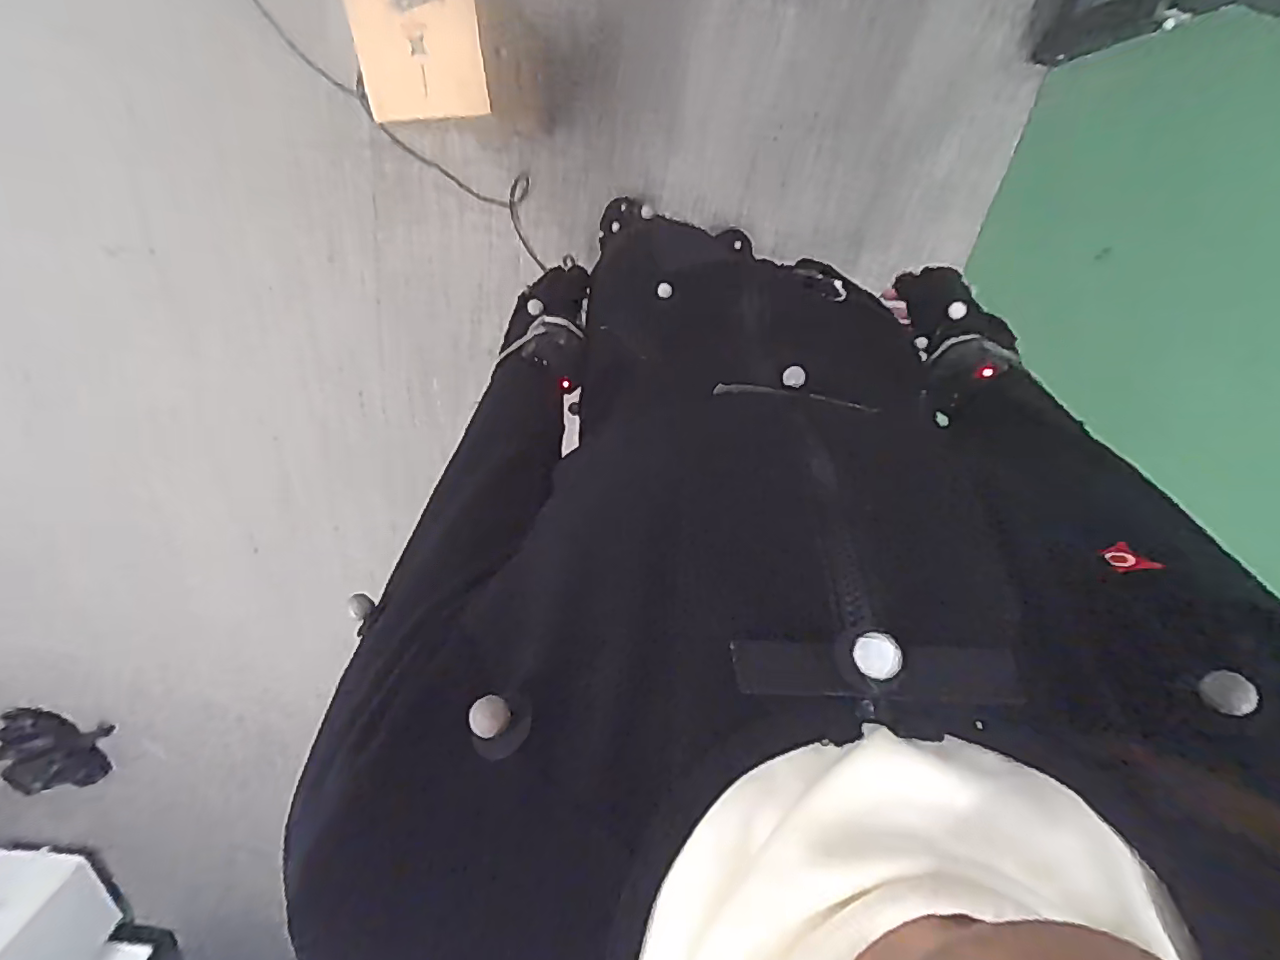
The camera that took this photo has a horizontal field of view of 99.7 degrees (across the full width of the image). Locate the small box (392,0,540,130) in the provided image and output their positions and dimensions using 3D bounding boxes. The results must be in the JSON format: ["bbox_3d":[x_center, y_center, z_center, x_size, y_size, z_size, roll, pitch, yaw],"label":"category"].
[{"bbox_3d":[-0.276,-0.696,0.900,0.168,0.176,0.179,-3,117,7],"label":"small box"}]
